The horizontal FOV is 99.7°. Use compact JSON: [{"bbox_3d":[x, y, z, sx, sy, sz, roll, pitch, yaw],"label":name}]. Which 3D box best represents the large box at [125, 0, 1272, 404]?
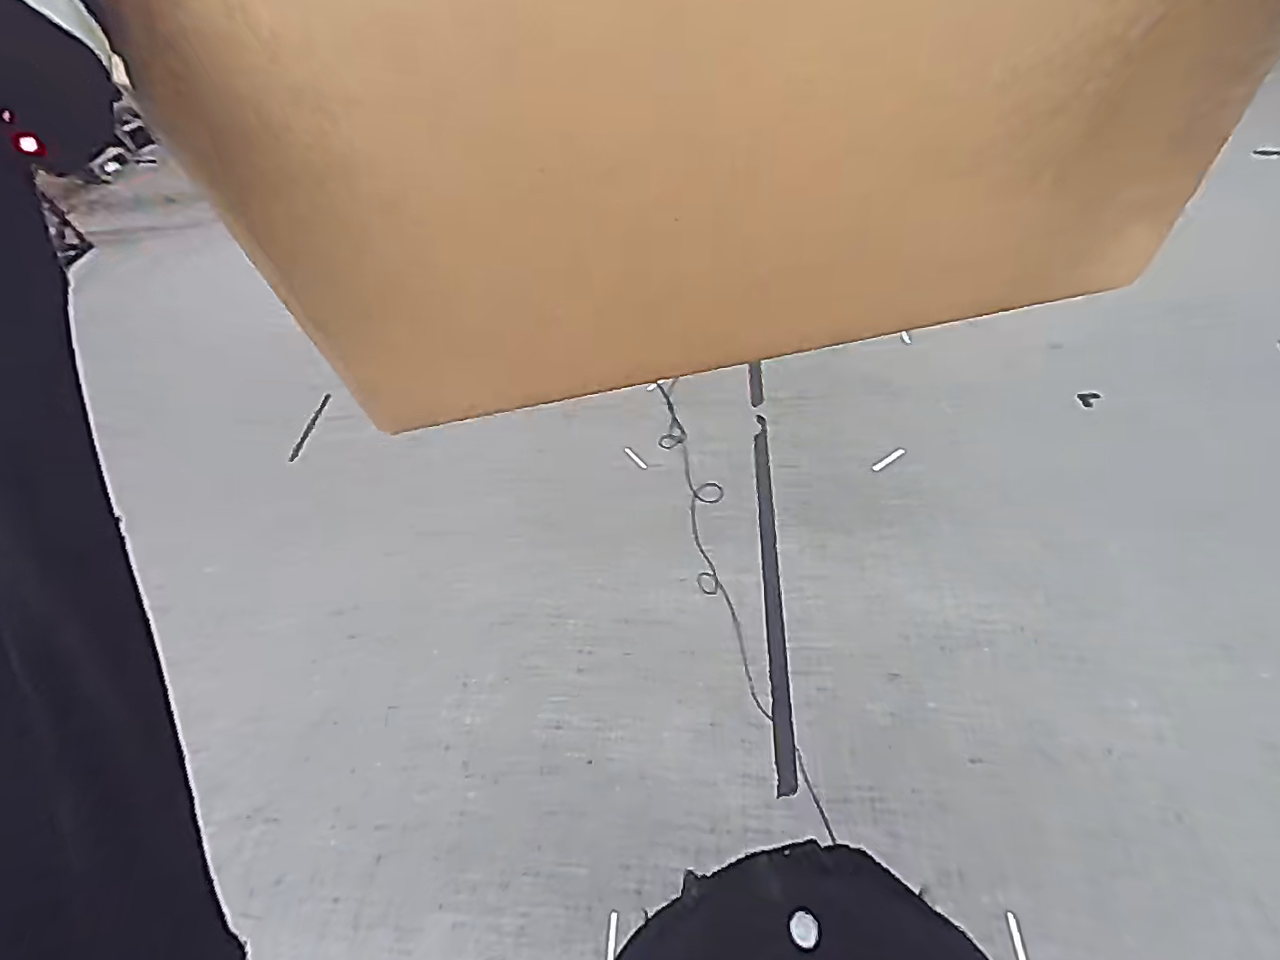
[{"bbox_3d":[0.019,-0.279,0.270,0.408,0.320,0.320,-10,51,1],"label":"large box"}]
